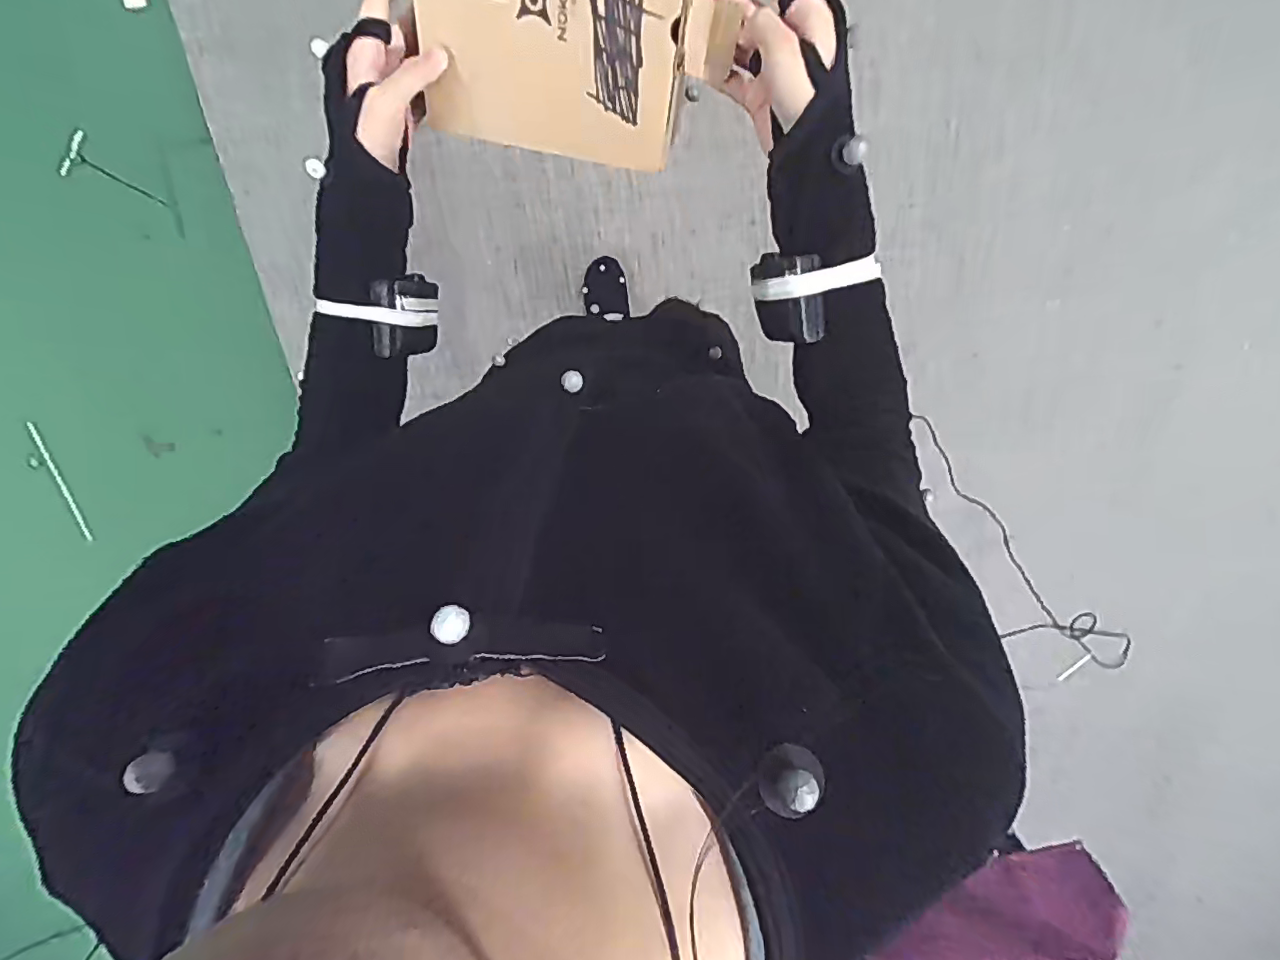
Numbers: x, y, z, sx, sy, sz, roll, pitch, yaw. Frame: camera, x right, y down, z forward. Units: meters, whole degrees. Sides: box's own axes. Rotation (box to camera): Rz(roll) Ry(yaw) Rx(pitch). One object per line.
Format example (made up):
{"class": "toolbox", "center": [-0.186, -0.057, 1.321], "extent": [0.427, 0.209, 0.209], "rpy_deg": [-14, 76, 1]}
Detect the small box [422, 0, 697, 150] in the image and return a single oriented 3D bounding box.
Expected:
{"class": "small box", "center": [-0.045, -0.370, 0.399], "extent": [0.179, 0.176, 0.168], "rpy_deg": [12, 133, 0]}
